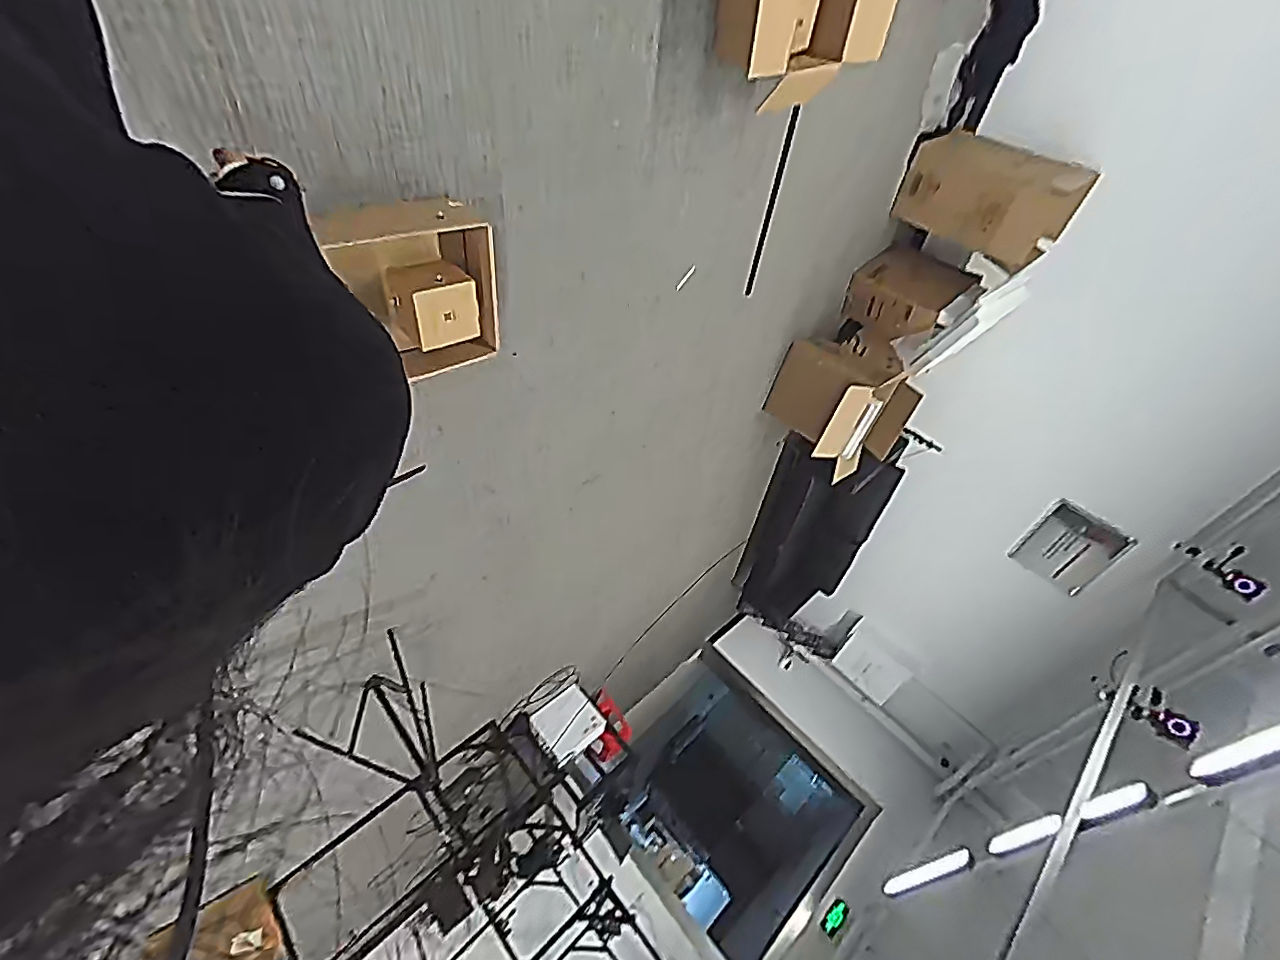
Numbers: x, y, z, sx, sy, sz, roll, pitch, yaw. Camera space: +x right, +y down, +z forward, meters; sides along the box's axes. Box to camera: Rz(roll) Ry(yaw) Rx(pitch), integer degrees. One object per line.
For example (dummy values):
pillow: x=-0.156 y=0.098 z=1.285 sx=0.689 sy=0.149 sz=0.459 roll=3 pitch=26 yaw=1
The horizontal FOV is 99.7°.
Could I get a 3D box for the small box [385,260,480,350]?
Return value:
small box: x=-0.566 y=-0.486 z=1.481 sx=0.179 sy=0.176 sz=0.168 roll=-28 pitch=143 yaw=-32
